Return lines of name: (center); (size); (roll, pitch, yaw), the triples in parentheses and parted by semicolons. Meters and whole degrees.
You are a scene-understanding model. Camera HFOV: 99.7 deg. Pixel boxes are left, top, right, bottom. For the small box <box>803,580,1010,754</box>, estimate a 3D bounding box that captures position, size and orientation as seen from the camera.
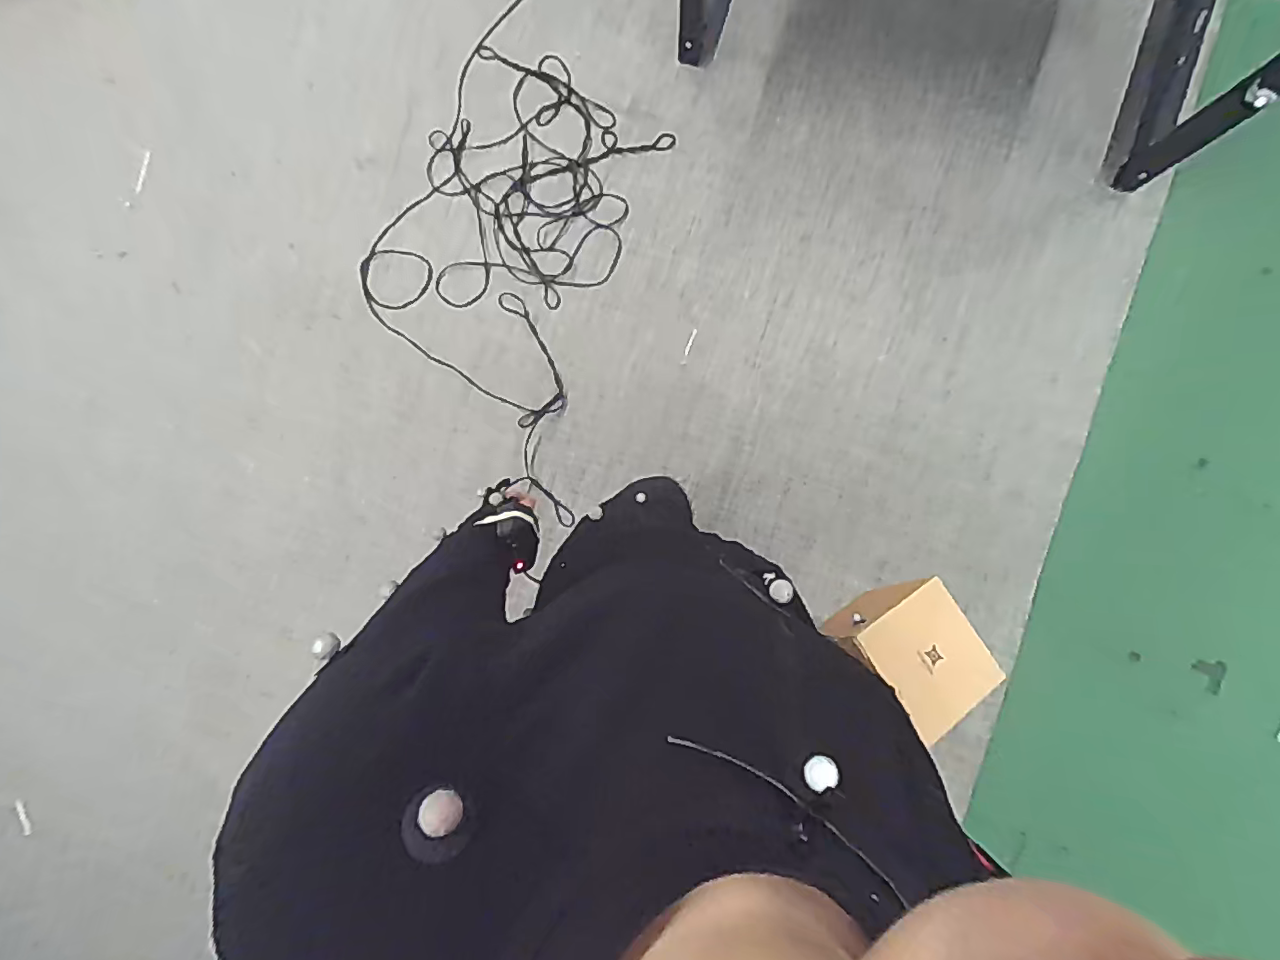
small box: (0.380, 0.269, 0.797); (0.179, 0.176, 0.168); (-27, 79, -21)
